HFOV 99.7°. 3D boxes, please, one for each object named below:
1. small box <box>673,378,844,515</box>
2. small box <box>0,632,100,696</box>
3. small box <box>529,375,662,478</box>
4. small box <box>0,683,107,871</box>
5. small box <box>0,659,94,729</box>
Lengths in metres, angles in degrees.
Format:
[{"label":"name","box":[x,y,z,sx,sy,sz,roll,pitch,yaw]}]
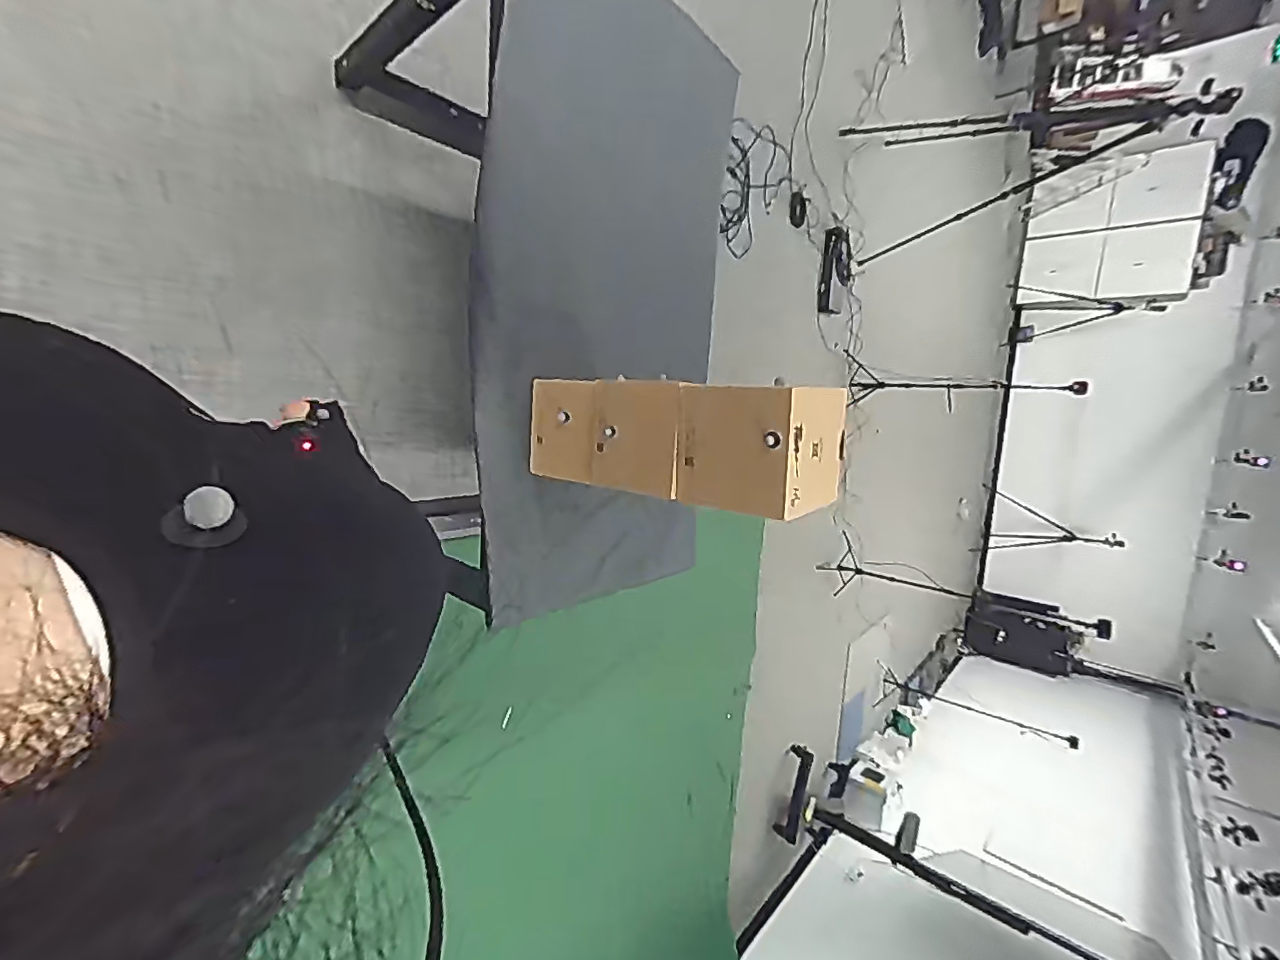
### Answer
[{"label":"small box","box":[0.166,-0.056,0.757,0.179,0.176,0.168,-10,105,-49]},{"label":"small box","box":[-1.129,0.383,0.981,0.168,0.176,0.179,20,83,-49]},{"label":"small box","box":[-0.082,-0.096,0.967,0.179,0.176,0.168,-6,101,-50]},{"label":"small box","box":[-0.900,0.421,0.750,0.179,0.176,0.168,-35,121,-40]},{"label":"small box","box":[-1.029,0.400,0.851,0.168,0.176,0.179,47,63,-41]}]
